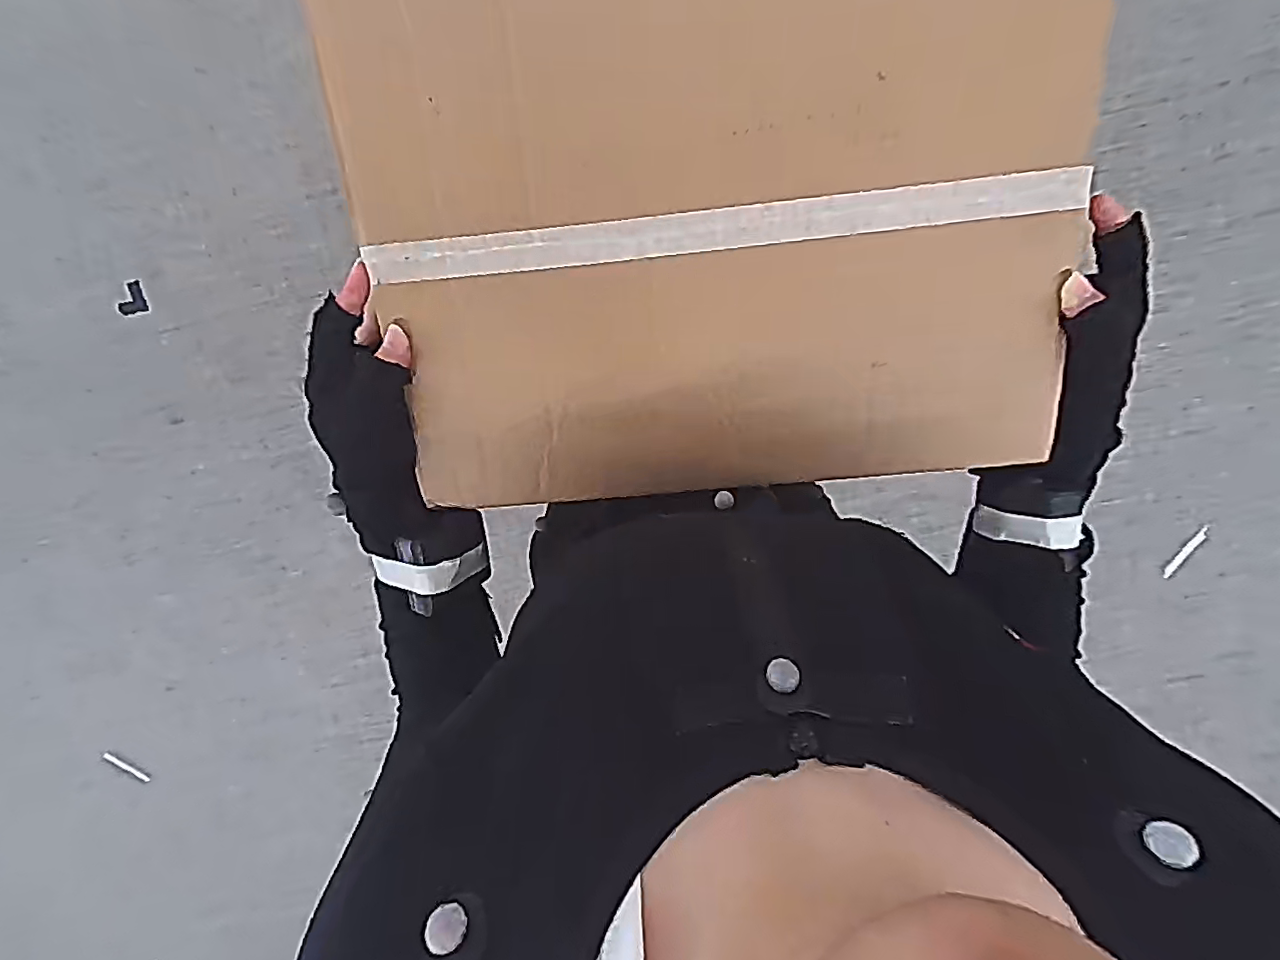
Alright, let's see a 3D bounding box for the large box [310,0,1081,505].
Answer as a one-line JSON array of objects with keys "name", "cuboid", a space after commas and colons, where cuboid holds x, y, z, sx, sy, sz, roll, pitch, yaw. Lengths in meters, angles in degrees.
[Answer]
[{"name": "large box", "cuboid": [0.042, -0.194, 0.457, 0.408, 0.320, 0.320, -5, 108, 3]}]
